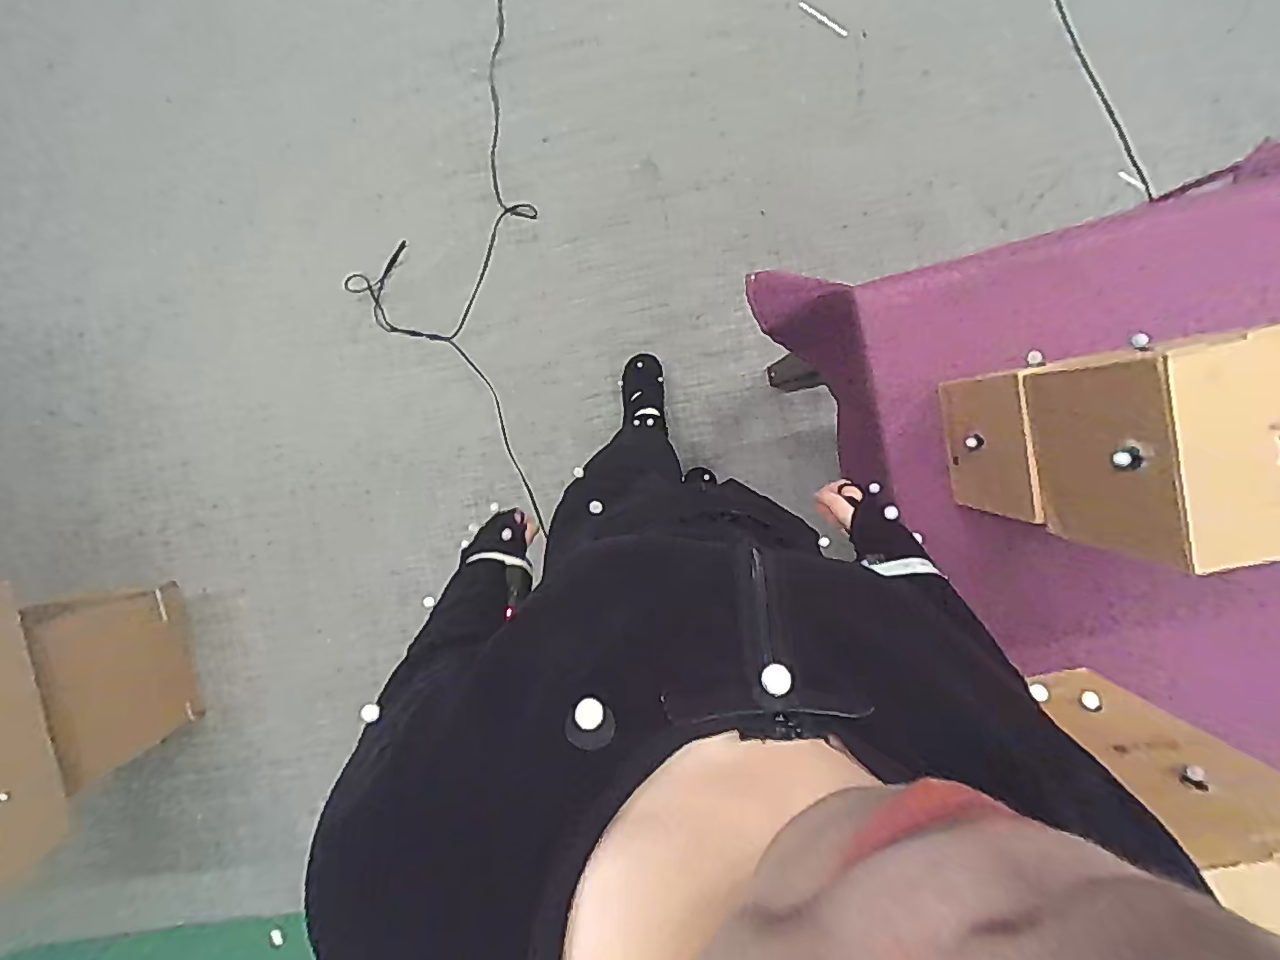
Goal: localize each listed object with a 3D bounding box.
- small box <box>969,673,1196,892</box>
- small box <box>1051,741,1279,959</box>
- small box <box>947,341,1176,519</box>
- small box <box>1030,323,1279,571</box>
[{"bbox_3d":[0.549,0.364,0.686,0.168,0.176,0.179,-12,96,3],"label":"small box"},{"bbox_3d":[0.538,0.375,0.523,0.168,0.176,0.179,-7,95,3],"label":"small box"},{"bbox_3d":[0.492,-0.058,0.644,0.179,0.176,0.168,-10,96,3],"label":"small box"},{"bbox_3d":[0.487,-0.036,0.482,0.168,0.176,0.179,-11,96,5],"label":"small box"}]
